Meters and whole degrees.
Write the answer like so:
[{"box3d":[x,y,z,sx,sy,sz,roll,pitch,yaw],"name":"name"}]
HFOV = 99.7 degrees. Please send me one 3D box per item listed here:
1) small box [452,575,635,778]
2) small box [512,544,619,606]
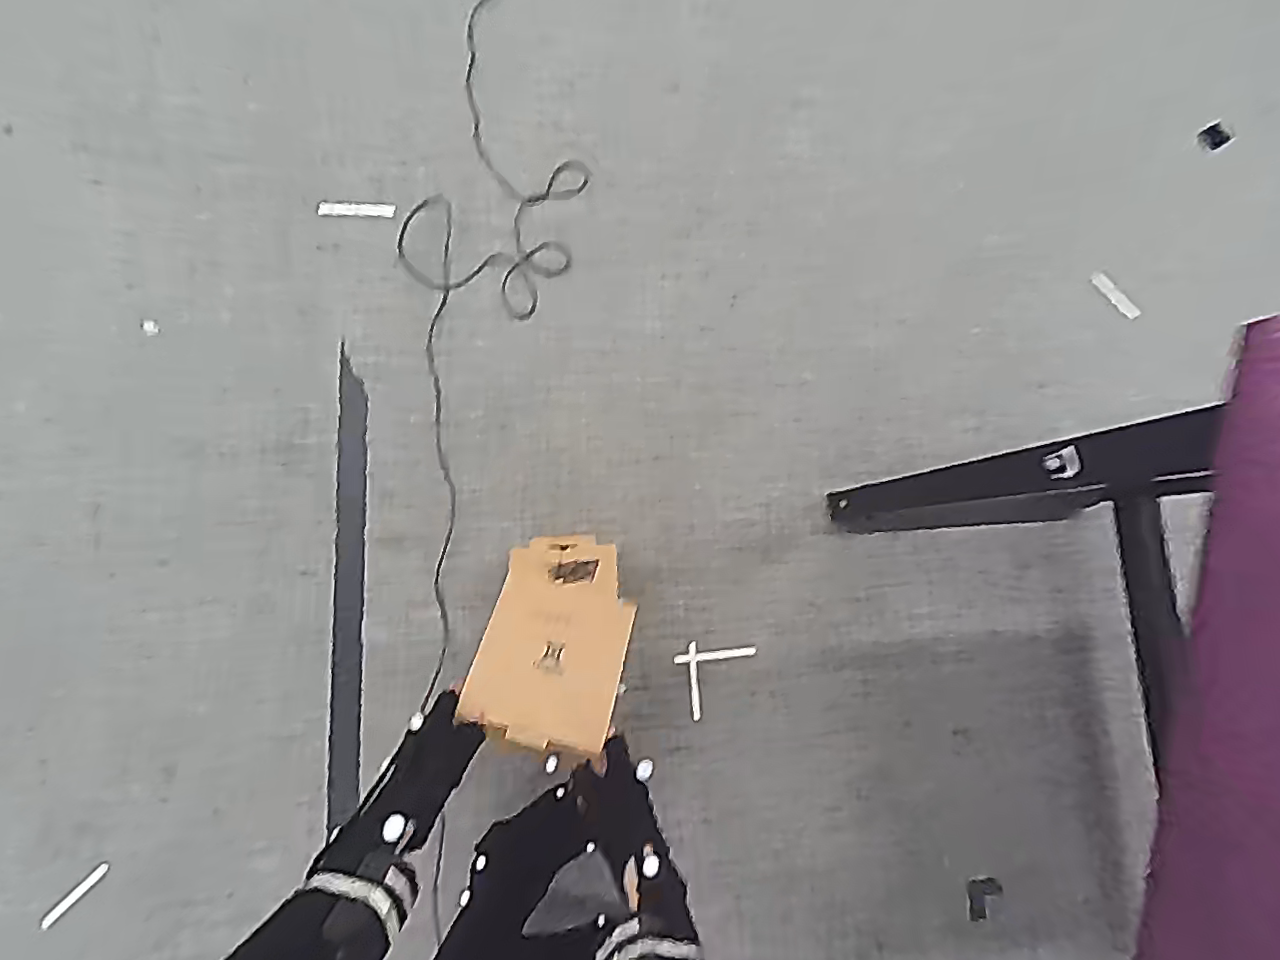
[{"box3d":[-0.117,0.251,0.674,0.168,0.176,0.179,18,51,-4],"name":"small box"},{"box3d":[-0.124,0.198,0.896,0.168,0.176,0.179,-1,82,-7],"name":"small box"}]
